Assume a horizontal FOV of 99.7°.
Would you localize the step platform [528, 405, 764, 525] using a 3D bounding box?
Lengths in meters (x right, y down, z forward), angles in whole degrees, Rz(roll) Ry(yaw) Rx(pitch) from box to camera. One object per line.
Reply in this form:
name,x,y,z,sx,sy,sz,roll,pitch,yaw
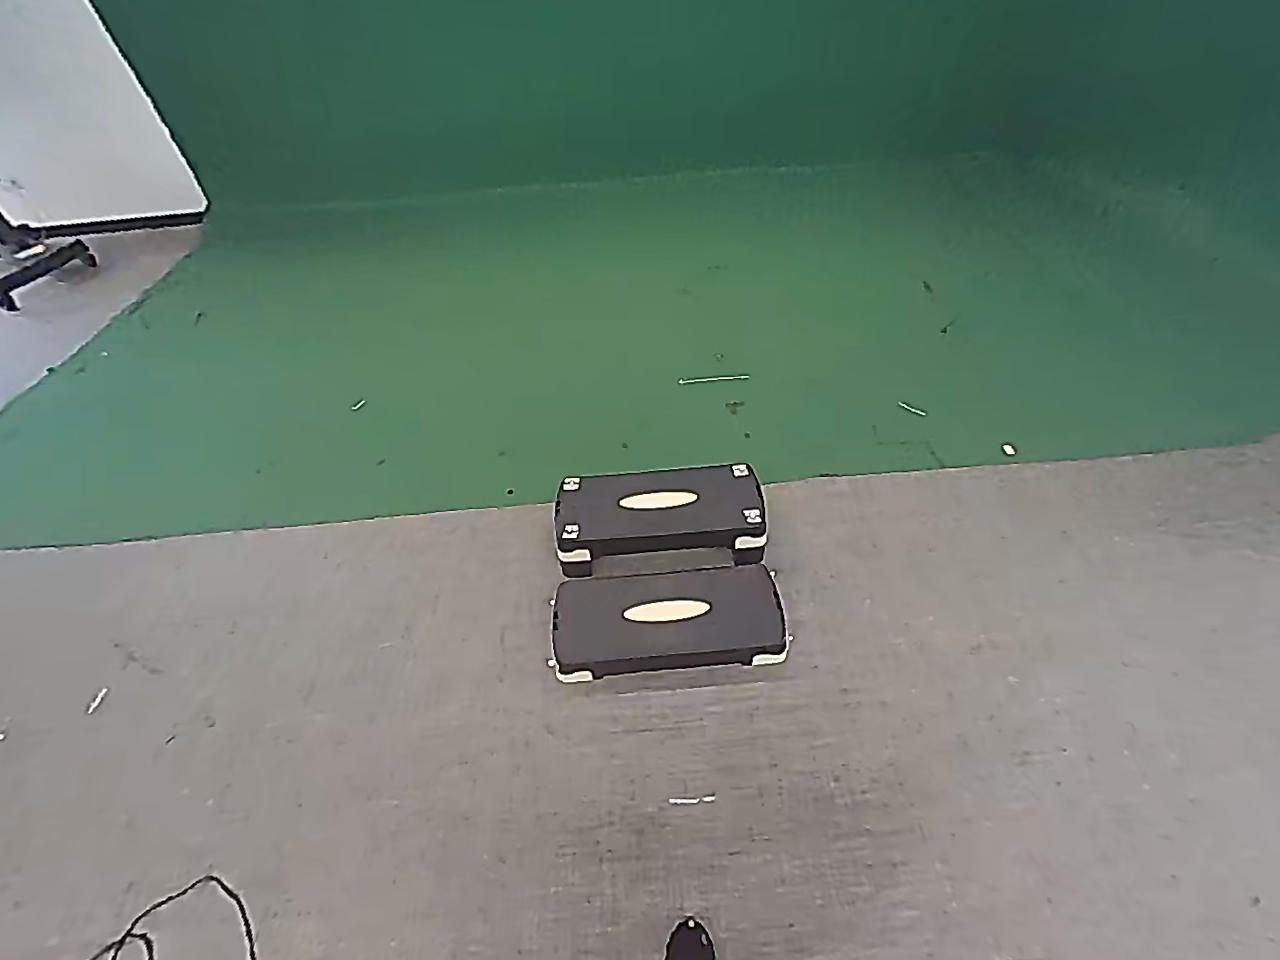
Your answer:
step platform,0.018,-0.046,1.647,0.684,0.204,0.286,-5,48,0
